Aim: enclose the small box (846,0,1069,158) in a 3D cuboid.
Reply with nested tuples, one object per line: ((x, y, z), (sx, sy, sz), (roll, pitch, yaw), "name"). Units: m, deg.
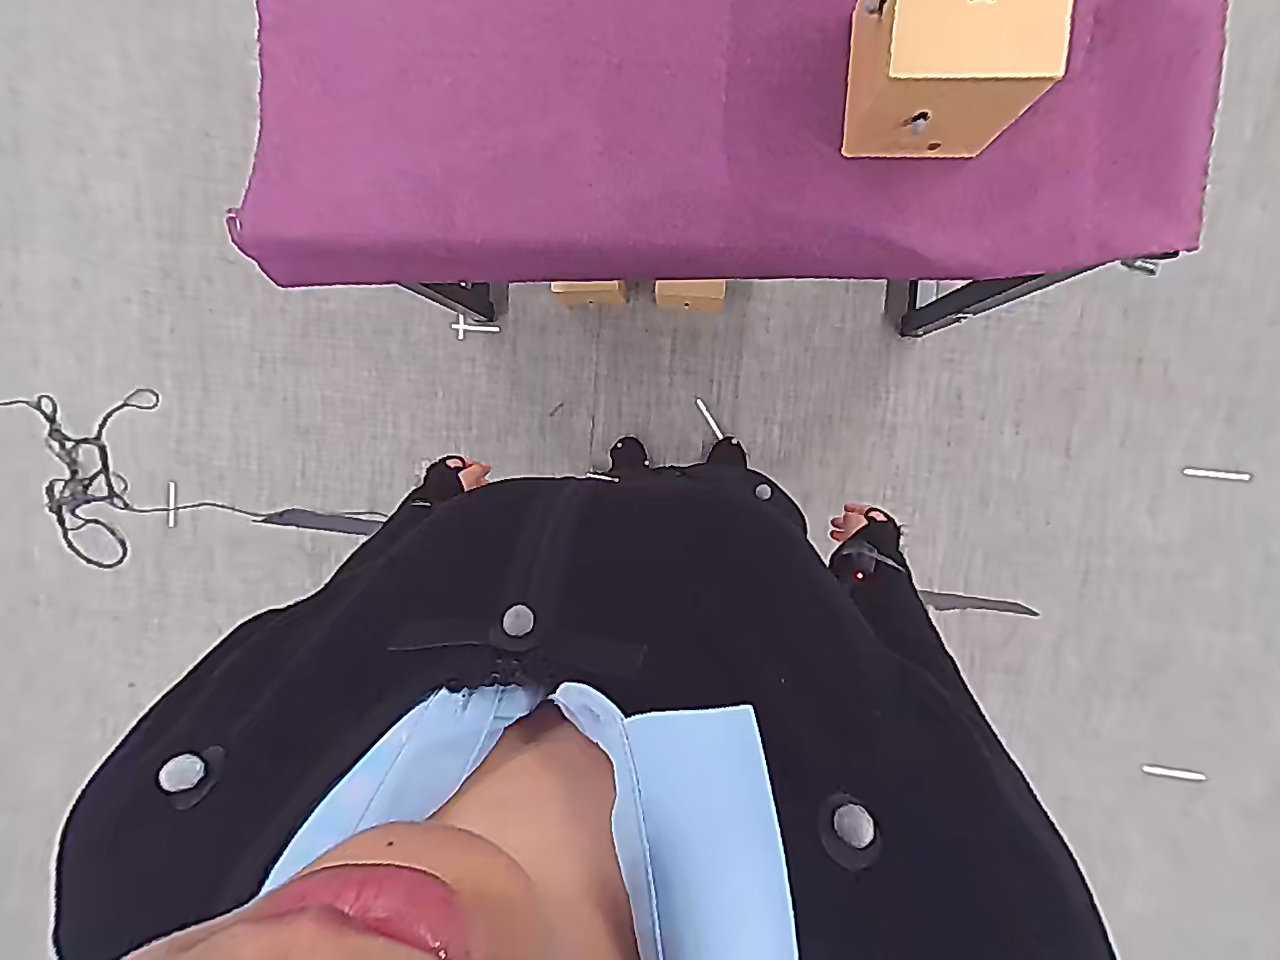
((0.339, -0.487, 0.604), (0.168, 0.176, 0.179), (4, 96, 5), "small box")

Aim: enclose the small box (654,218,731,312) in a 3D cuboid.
((0.130, -0.528, 1.352), (0.168, 0.176, 0.179), (6, 96, 4), "small box")
